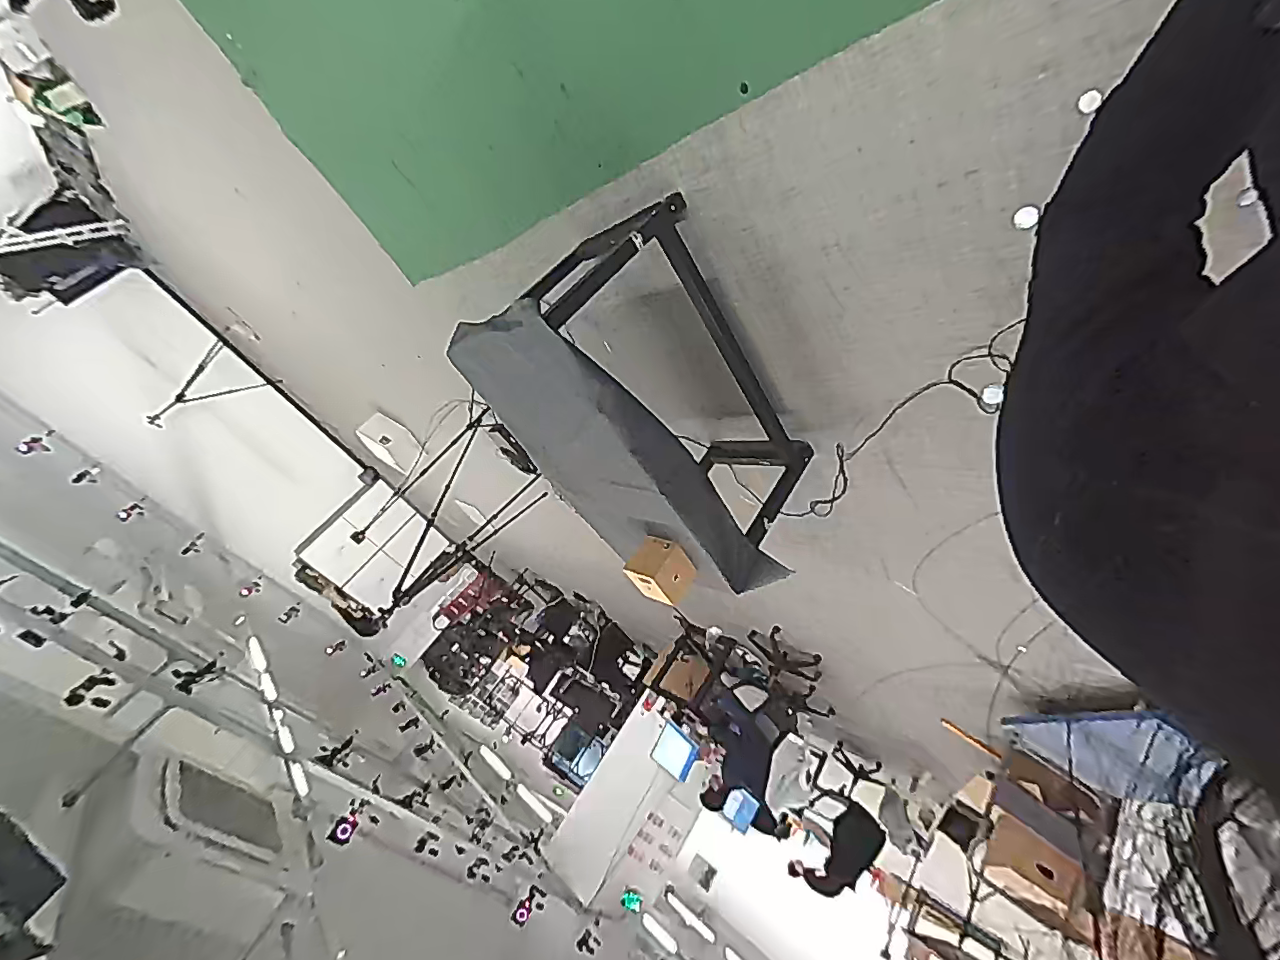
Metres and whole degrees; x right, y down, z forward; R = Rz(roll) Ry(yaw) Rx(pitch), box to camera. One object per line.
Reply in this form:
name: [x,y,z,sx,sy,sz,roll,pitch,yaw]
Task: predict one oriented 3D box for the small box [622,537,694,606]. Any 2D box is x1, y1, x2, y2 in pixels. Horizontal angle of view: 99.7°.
small box: [0.070,0.332,2.004,0.168,0.176,0.179,8,143,47]
